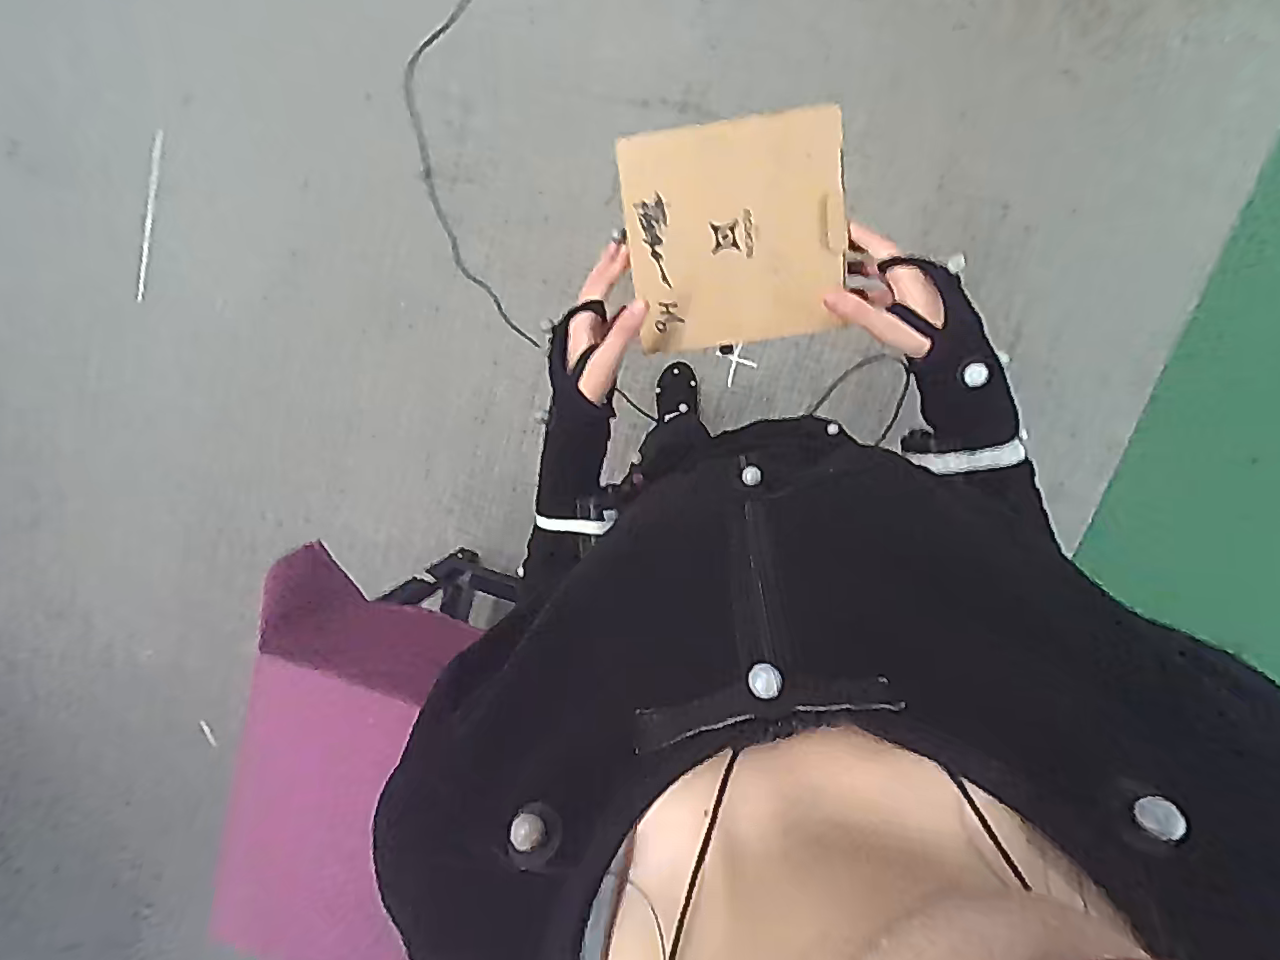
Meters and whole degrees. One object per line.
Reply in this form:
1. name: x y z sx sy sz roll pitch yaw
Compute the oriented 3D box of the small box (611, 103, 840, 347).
1. small box: 0.073 -0.219 0.509 0.179 0.176 0.168 -6 104 4
